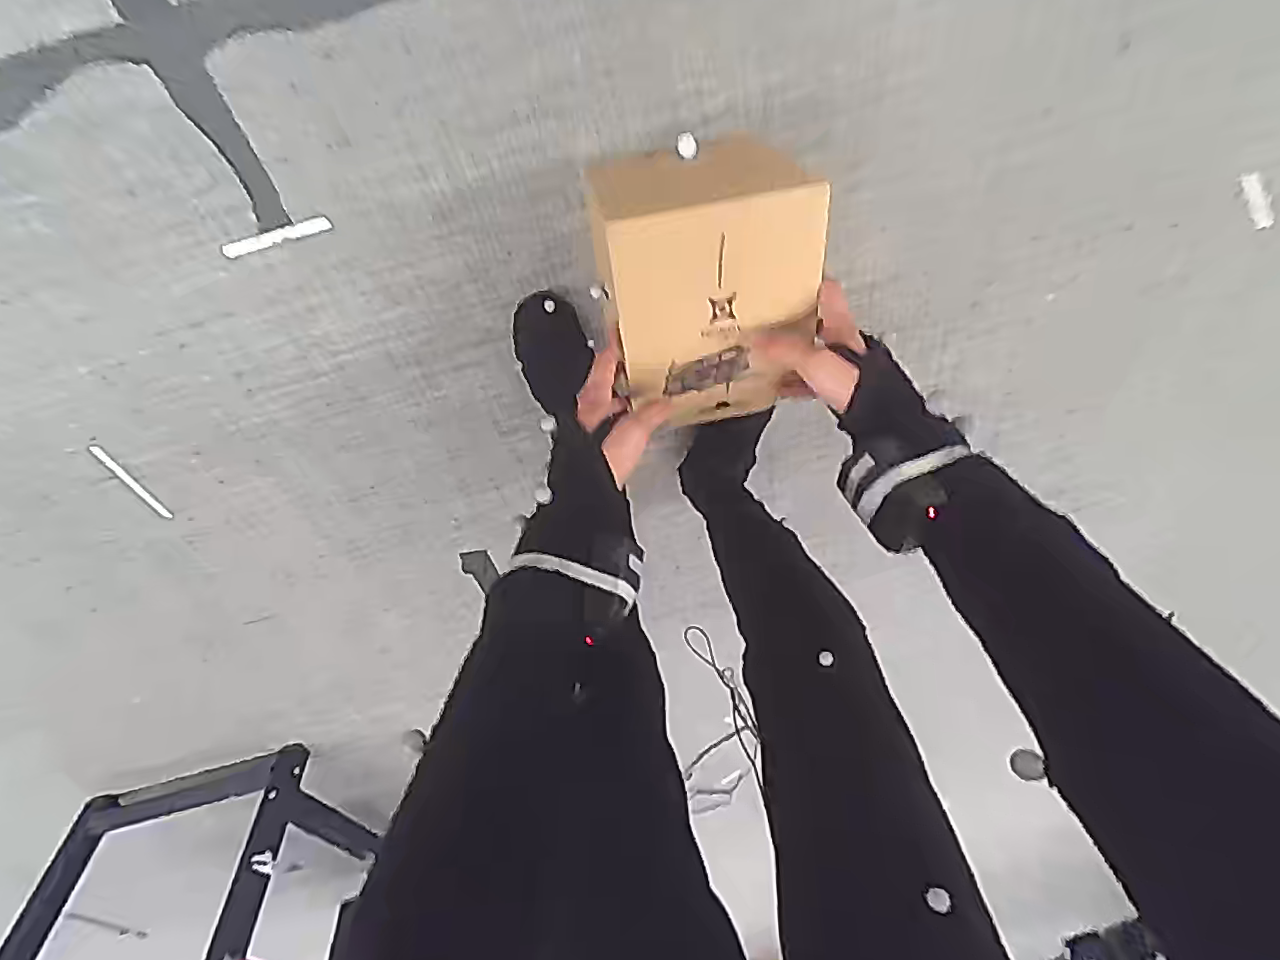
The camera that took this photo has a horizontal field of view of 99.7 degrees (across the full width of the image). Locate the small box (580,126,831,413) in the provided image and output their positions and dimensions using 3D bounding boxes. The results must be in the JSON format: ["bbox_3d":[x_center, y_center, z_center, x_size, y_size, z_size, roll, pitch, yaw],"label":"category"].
[{"bbox_3d":[0.046,-0.189,0.485,0.168,0.176,0.179,-11,135,-4],"label":"small box"}]
